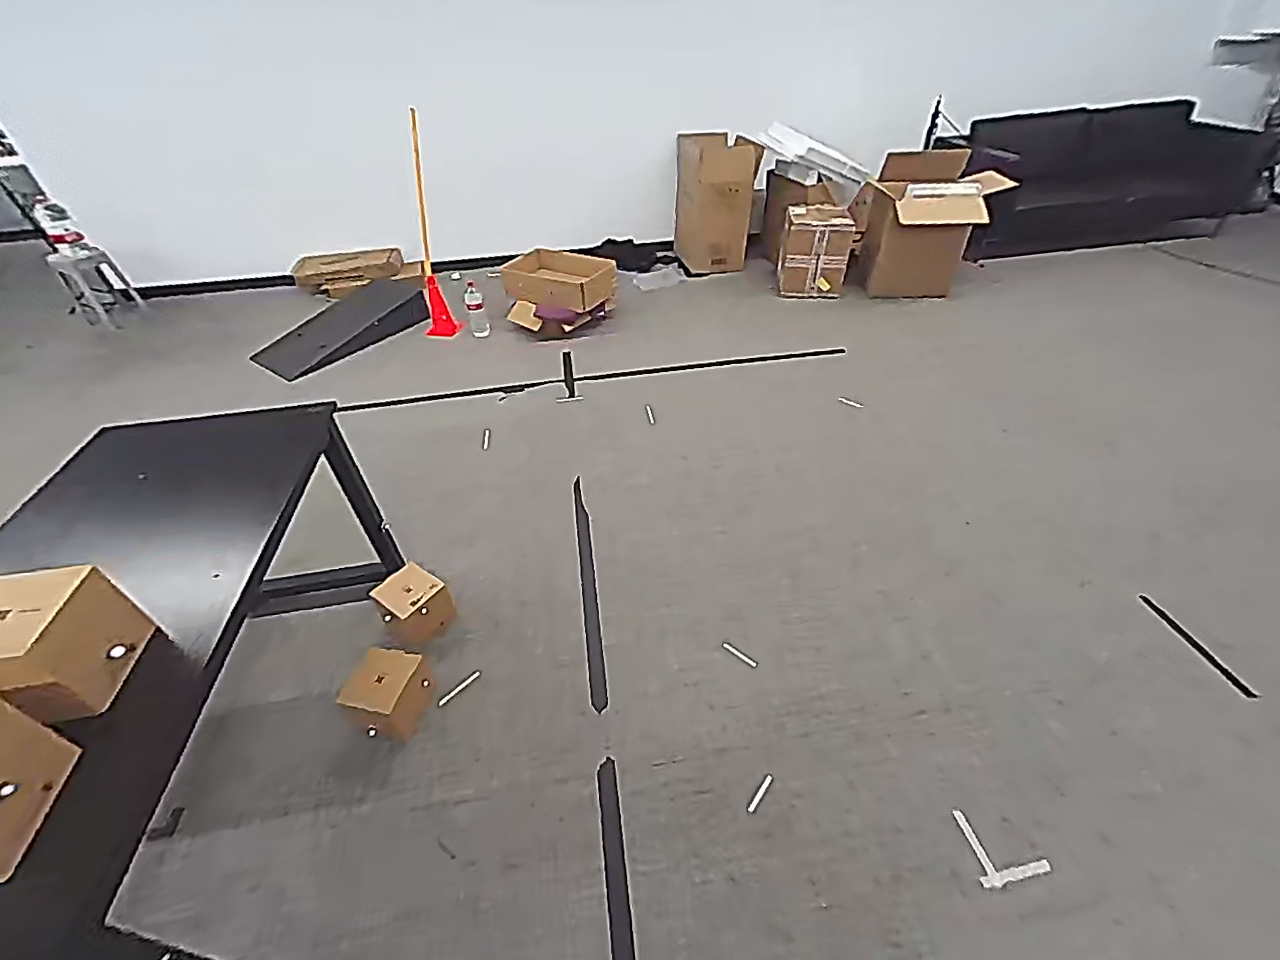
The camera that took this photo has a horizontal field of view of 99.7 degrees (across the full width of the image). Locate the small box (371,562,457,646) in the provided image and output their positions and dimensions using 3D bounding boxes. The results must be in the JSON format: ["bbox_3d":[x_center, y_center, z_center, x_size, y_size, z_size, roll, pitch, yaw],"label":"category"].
[{"bbox_3d":[-0.734,0.408,1.768,0.179,0.176,0.168,23,48,26],"label":"small box"}]

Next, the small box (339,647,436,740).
[{"bbox_3d":[-0.707,0.609,1.542,0.168,0.176,0.179,6,43,11],"label":"small box"}]

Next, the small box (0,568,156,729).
[{"bbox_3d":[-0.926,0.264,0.838,0.179,0.176,0.168,-8,42,-6],"label":"small box"}]
